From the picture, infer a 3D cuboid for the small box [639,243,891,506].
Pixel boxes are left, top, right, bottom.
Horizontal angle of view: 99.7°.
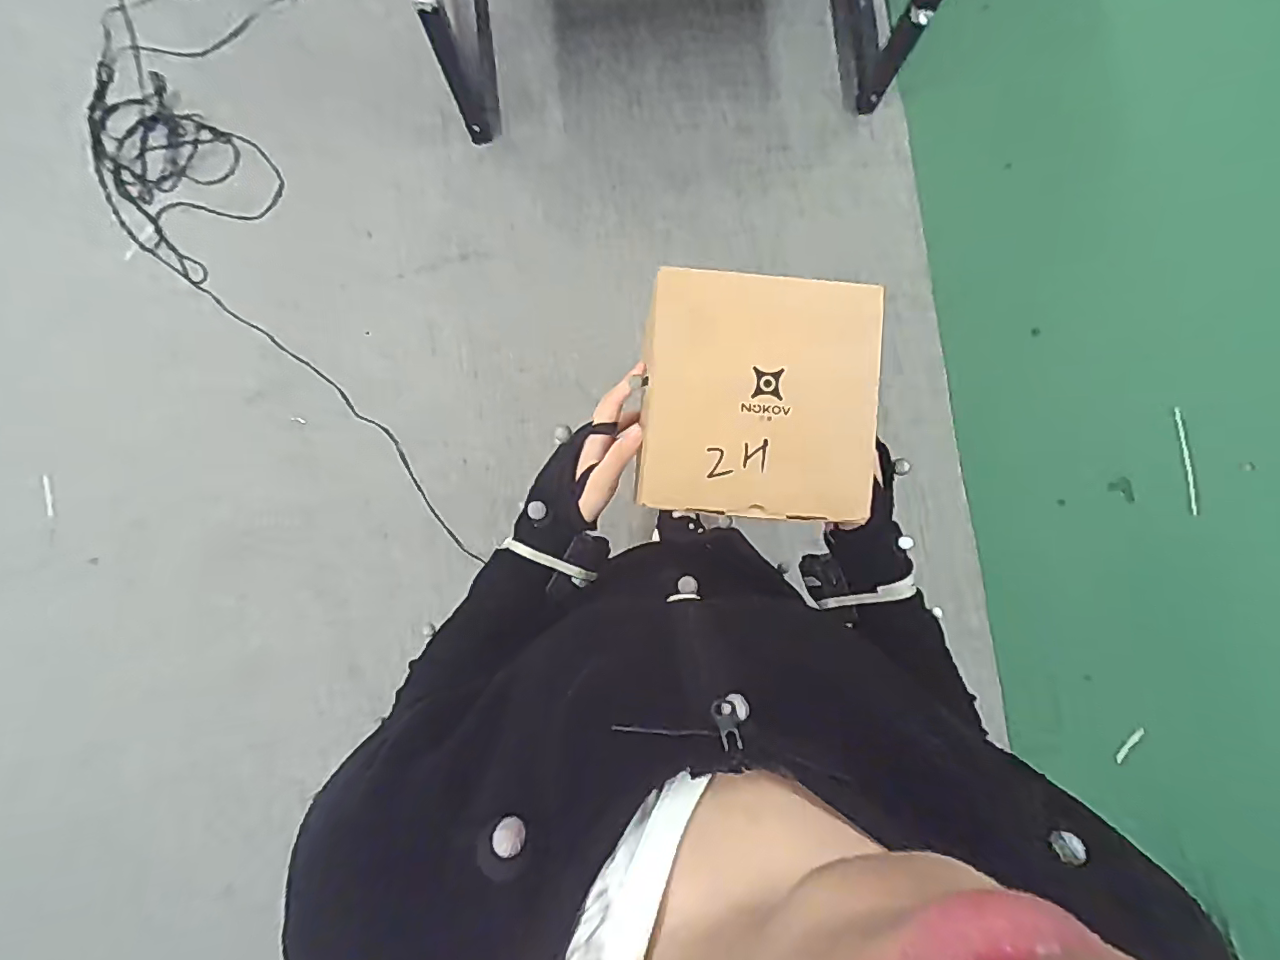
[{"bbox_3d":[0.088,-0.072,0.458,0.168,0.176,0.179,4,89,-2],"label":"small box"}]
